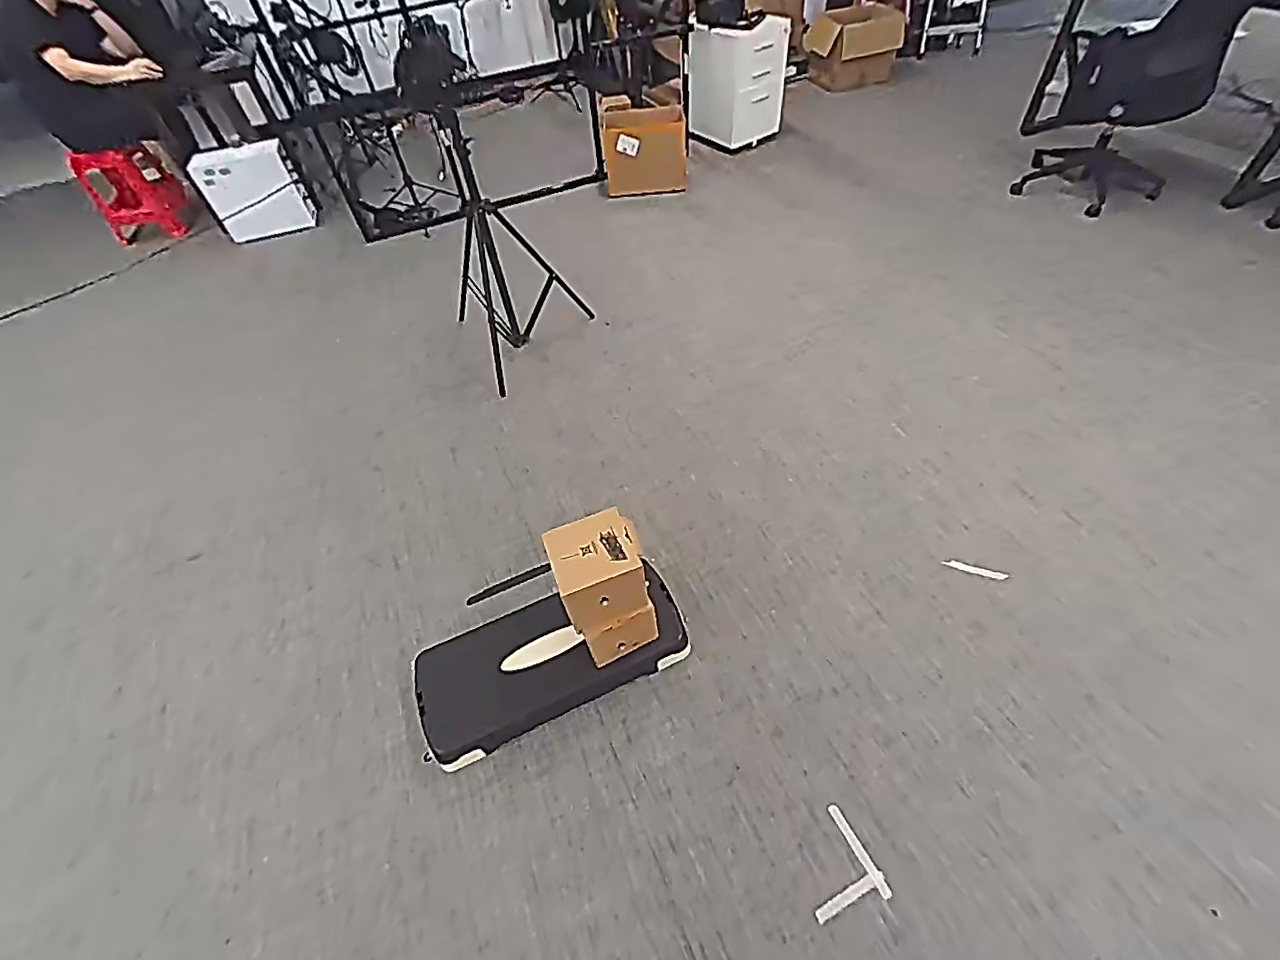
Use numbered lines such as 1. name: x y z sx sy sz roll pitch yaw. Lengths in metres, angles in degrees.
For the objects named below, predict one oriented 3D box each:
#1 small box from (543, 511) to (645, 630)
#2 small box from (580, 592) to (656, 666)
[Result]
1. small box: -0.094 0.200 1.181 0.179 0.176 0.168 -19 52 -9
2. small box: -0.072 0.312 1.299 0.168 0.176 0.179 -23 53 -13
